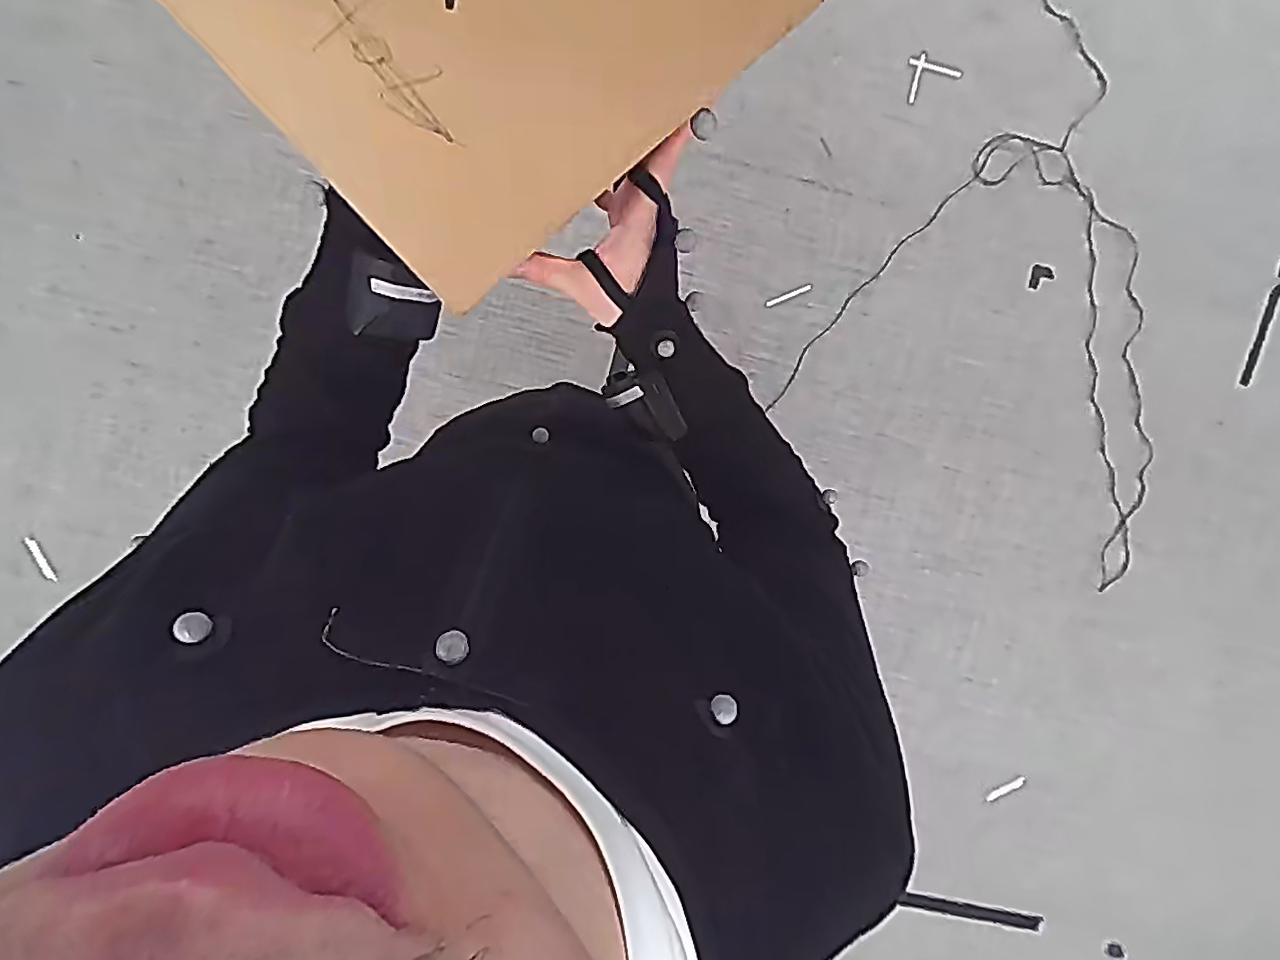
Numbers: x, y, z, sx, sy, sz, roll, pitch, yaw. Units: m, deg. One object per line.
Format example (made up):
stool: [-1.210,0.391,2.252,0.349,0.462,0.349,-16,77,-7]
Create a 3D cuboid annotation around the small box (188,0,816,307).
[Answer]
small box: [-0.057,-0.216,0.244,0.179,0.176,0.168,-33,118,17]
